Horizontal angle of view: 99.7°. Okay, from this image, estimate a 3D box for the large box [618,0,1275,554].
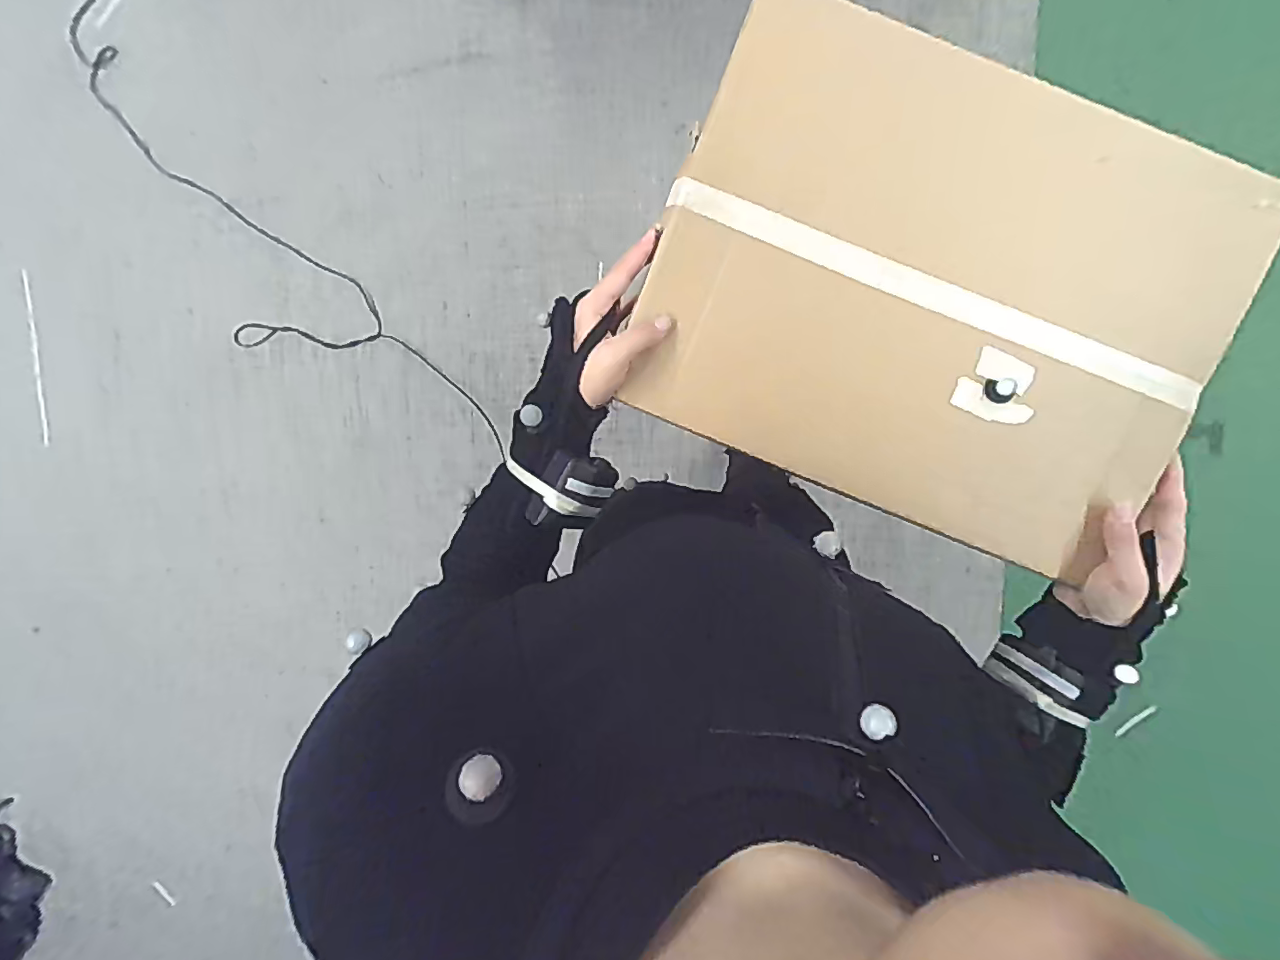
[{"bbox_3d":[0.220,-0.166,0.547,0.408,0.320,0.320,21,97,-1],"label":"large box"}]
